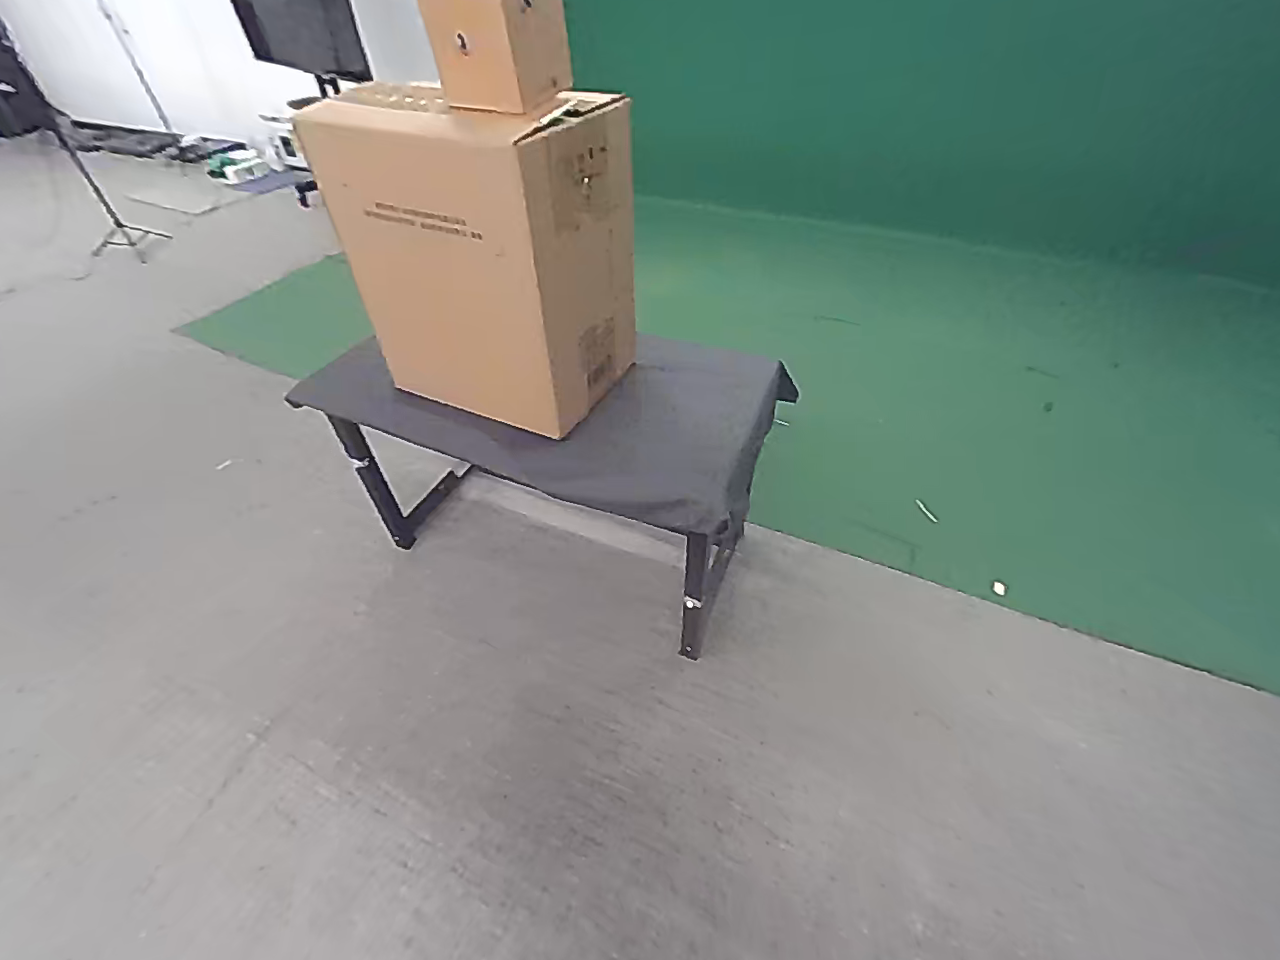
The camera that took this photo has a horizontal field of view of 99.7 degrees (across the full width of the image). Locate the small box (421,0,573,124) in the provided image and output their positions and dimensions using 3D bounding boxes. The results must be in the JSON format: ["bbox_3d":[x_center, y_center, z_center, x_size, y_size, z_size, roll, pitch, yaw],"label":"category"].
[{"bbox_3d":[-0.241,-0.750,0.954,0.179,0.176,0.168,19,54,20],"label":"small box"}]
